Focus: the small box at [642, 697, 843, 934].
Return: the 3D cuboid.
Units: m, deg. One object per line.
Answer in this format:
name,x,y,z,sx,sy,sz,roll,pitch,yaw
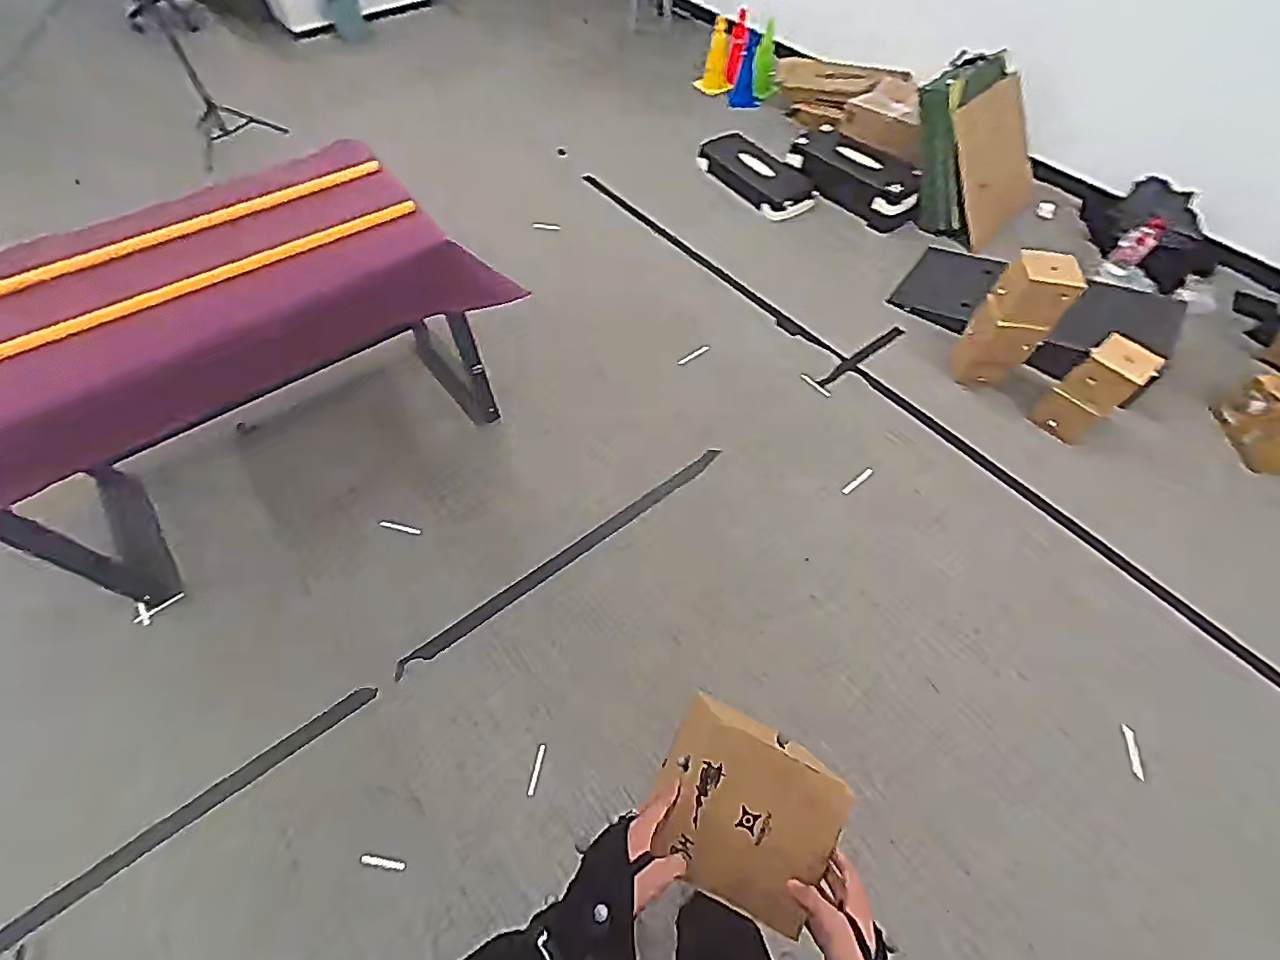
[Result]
small box,0.115,0.395,0.677,0.179,0.176,0.168,26,79,3
